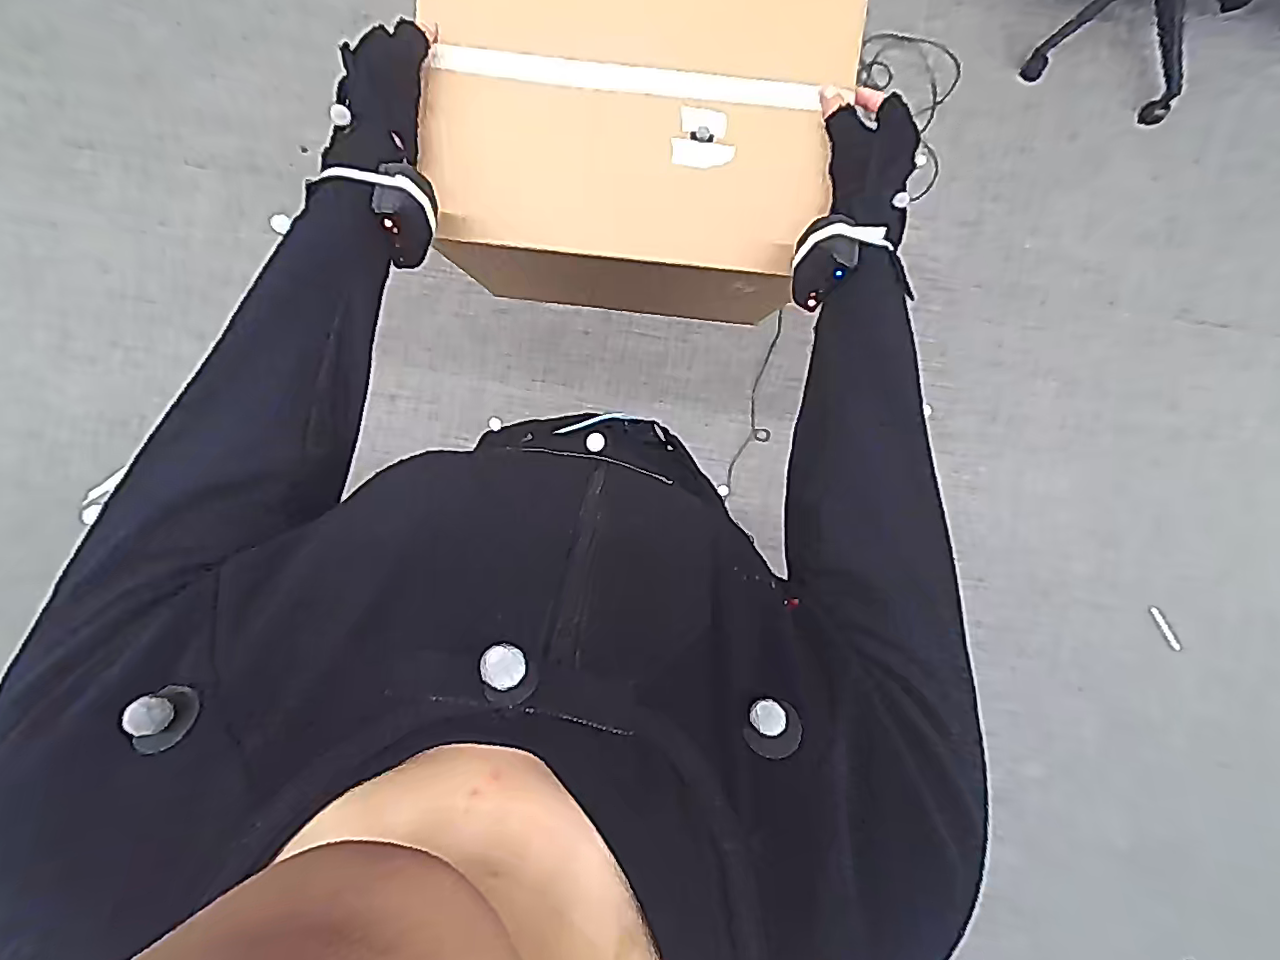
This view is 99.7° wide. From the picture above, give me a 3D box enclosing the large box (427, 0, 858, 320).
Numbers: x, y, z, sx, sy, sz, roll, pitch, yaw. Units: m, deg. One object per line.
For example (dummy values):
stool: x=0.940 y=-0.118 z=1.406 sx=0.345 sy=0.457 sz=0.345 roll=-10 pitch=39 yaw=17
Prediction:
large box: x=-0.005 y=-0.391 z=0.662 sx=0.408 sy=0.320 sz=0.320 roll=5 pitch=99 yaw=-2
